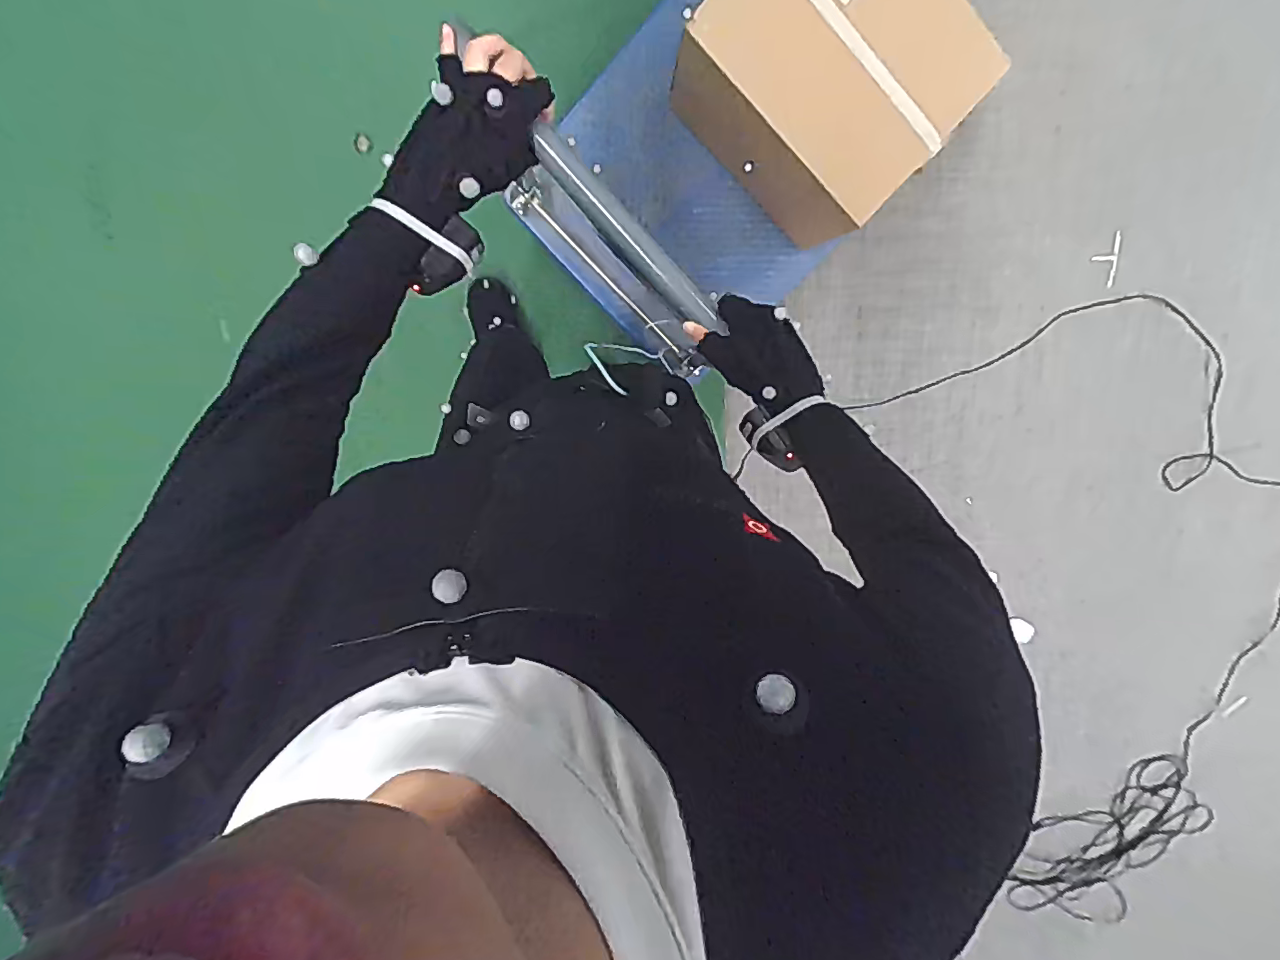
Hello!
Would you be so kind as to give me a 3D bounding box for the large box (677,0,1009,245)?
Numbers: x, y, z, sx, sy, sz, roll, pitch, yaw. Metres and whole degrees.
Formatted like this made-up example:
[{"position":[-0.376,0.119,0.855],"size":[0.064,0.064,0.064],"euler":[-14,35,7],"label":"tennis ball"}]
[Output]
[{"position":[0.318,-0.694,0.959],"size":[0.408,0.320,0.320],"euler":[41,101,-11],"label":"large box"}]
